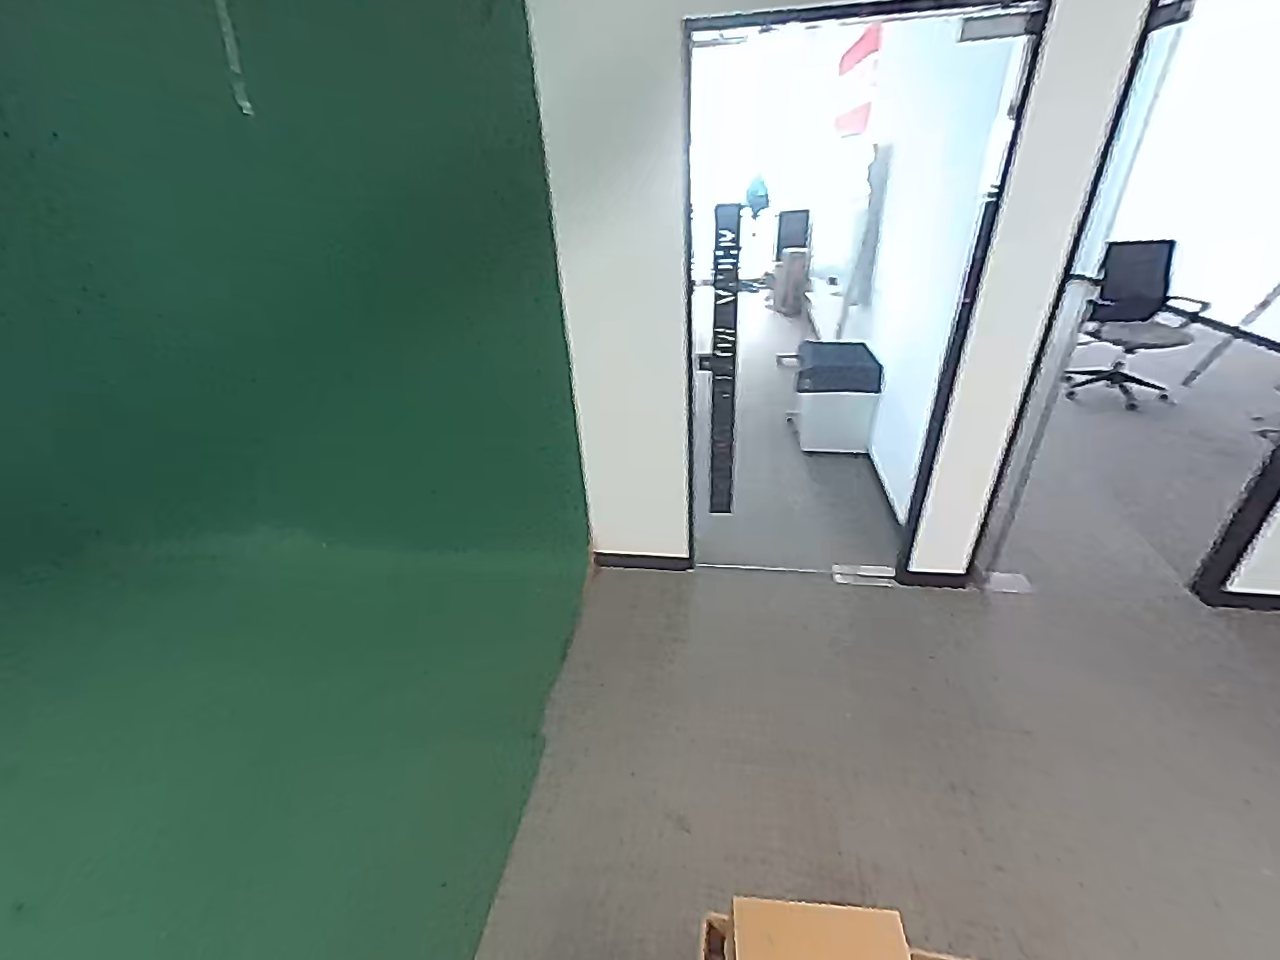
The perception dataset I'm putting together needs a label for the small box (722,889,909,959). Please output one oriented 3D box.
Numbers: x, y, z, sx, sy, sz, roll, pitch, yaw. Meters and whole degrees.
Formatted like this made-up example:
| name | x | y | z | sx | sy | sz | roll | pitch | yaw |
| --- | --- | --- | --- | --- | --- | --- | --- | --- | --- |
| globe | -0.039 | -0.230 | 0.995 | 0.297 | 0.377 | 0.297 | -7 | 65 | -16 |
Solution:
| name | x | y | z | sx | sy | sz | roll | pitch | yaw |
| --- | --- | --- | --- | --- | --- | --- | --- | --- | --- |
| small box | 0.168 | 0.538 | 0.523 | 0.168 | 0.176 | 0.179 | 1 | 36 | 5 |
